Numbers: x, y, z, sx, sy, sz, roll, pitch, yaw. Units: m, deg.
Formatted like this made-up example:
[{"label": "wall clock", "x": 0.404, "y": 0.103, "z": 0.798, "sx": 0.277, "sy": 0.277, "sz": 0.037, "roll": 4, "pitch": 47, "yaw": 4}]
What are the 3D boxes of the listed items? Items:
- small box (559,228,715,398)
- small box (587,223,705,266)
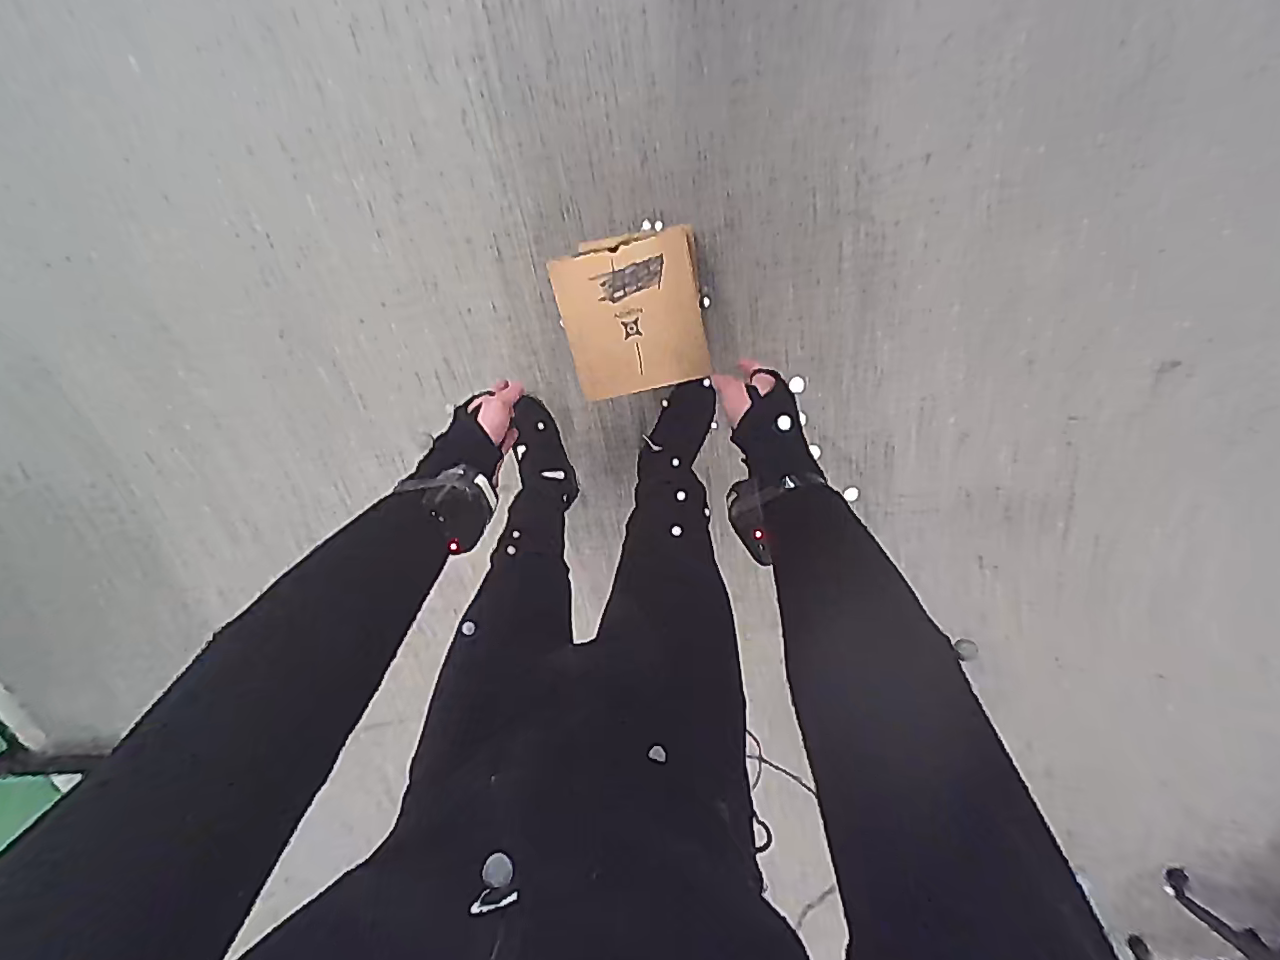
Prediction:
[{"label": "small box", "x": 0.006, "y": -0.222, "z": 0.709, "sx": 0.168, "sy": 0.176, "sz": 0.179, "roll": -6, "pitch": 114, "yaw": 9}, {"label": "small box", "x": 0.021, "y": -0.301, "z": 0.856, "sx": 0.168, "sy": 0.176, "sz": 0.179, "roll": -6, "pitch": 113, "yaw": 6}]
